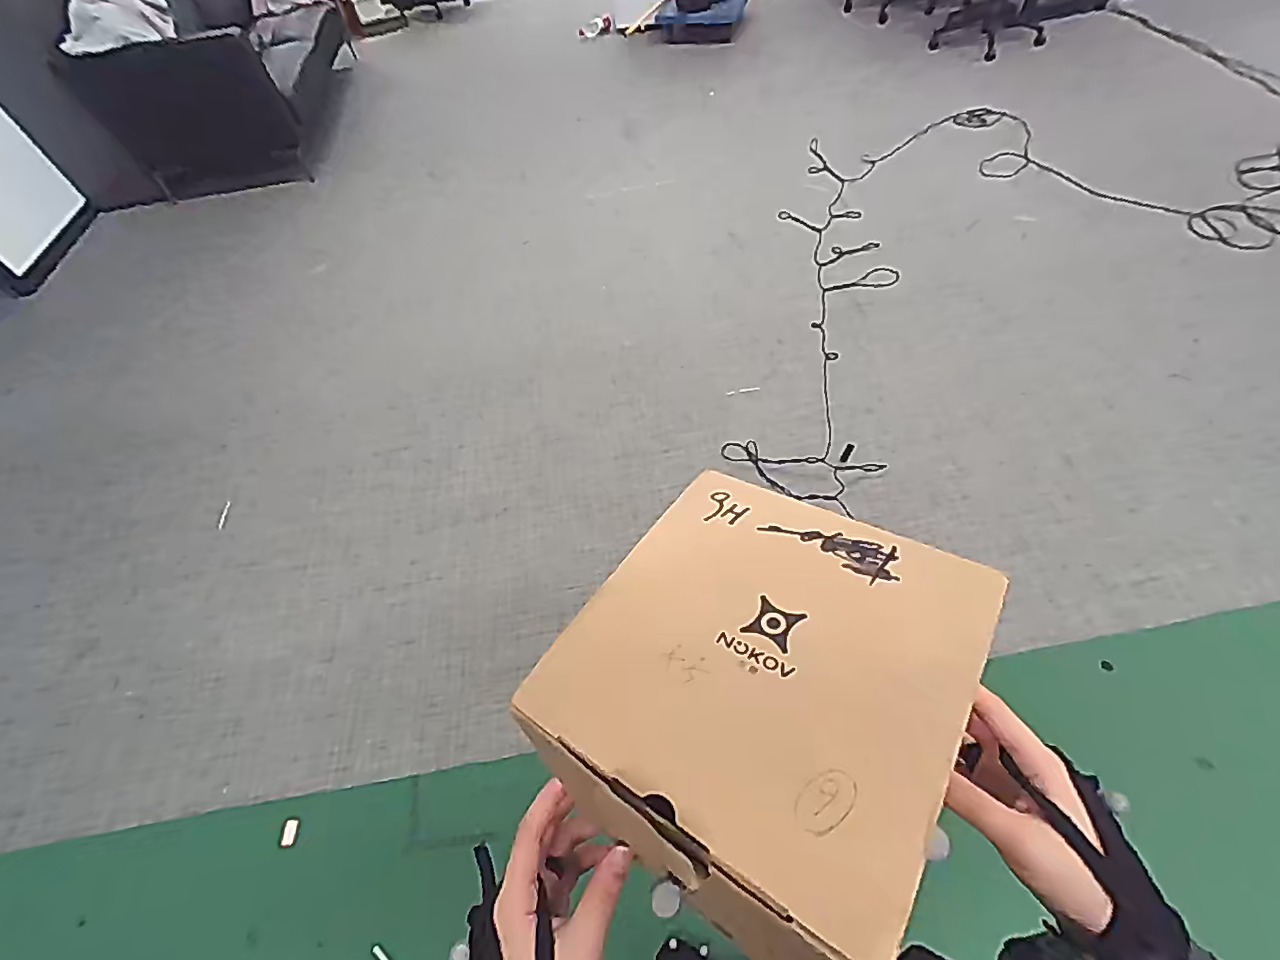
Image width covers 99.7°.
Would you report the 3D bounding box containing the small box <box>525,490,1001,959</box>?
[{"bbox_3d":[0.071,0.141,0.307,0.168,0.176,0.179,21,51,31],"label":"small box"}]
